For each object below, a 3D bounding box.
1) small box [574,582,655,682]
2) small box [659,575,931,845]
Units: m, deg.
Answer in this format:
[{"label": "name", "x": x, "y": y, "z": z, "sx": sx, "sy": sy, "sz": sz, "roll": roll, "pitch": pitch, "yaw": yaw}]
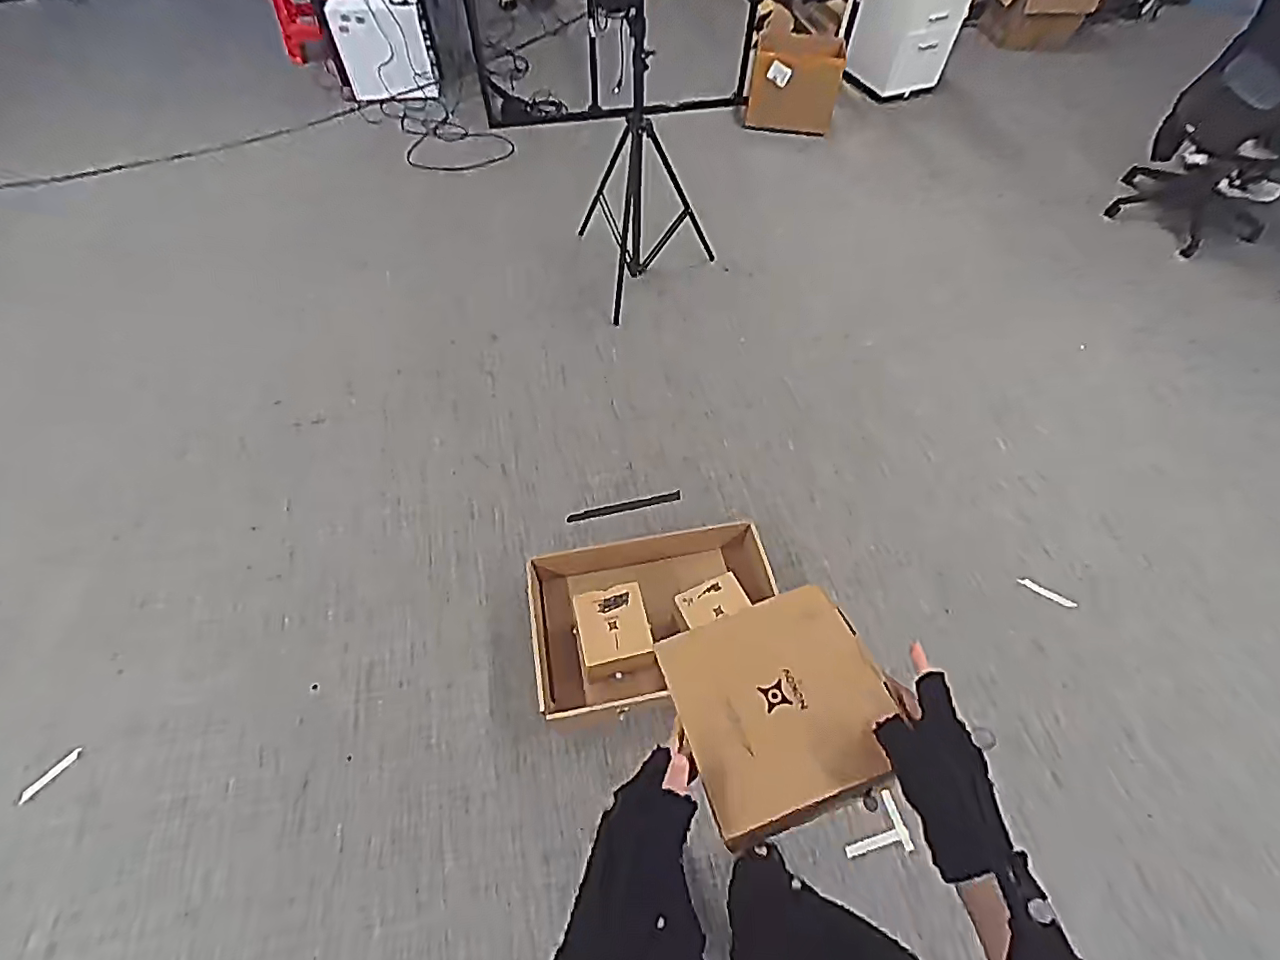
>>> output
[{"label": "small box", "x": -0.067, "y": 0.380, "z": 1.344, "sx": 0.168, "sy": 0.176, "sz": 0.179, "roll": -11, "pitch": 59, "yaw": -9}, {"label": "small box", "x": 0.133, "y": 0.225, "z": 0.521, "sx": 0.179, "sy": 0.176, "sz": 0.168, "roll": -21, "pitch": 51, "yaw": -4}]
